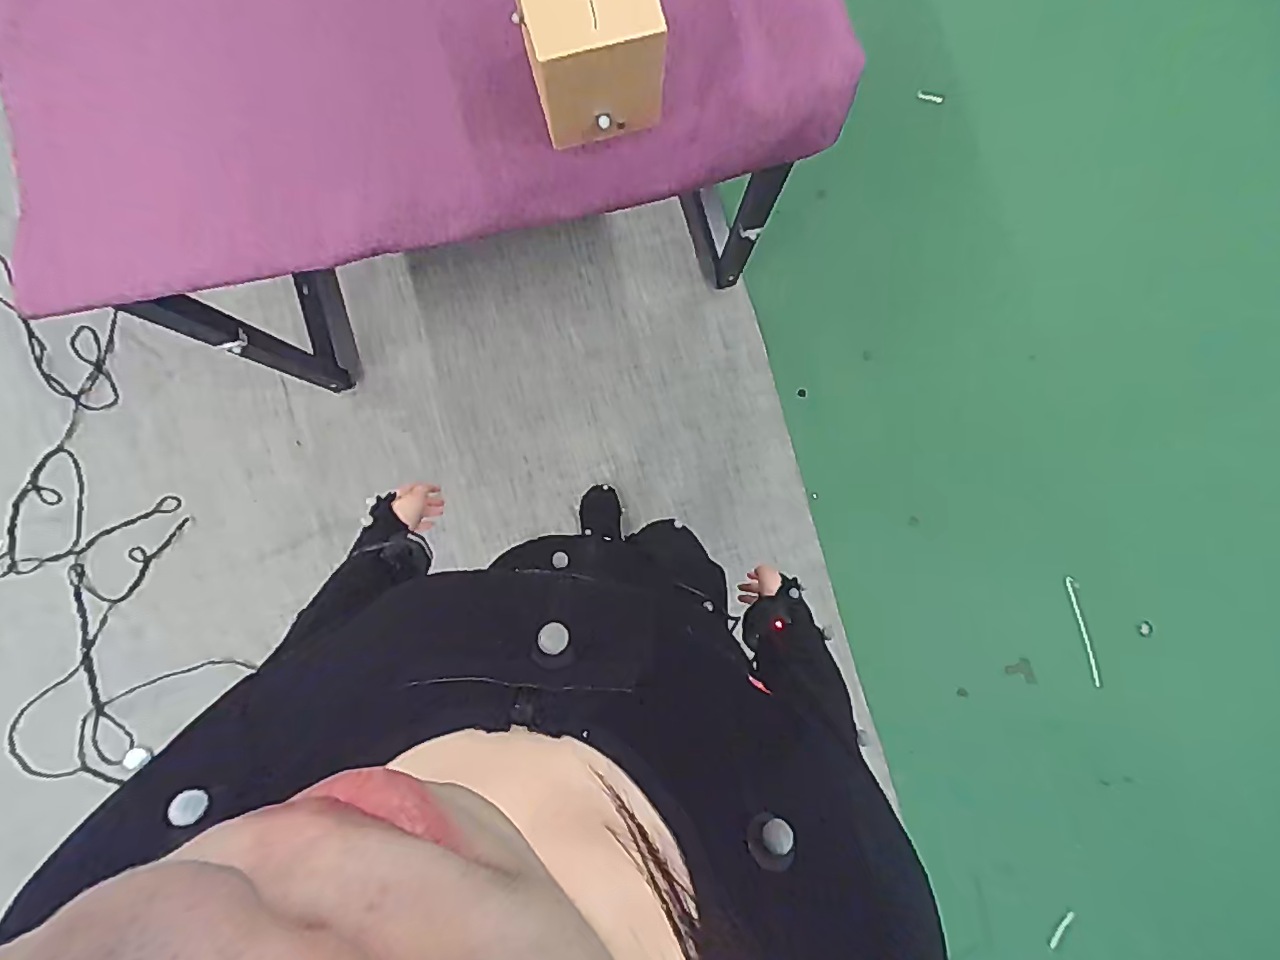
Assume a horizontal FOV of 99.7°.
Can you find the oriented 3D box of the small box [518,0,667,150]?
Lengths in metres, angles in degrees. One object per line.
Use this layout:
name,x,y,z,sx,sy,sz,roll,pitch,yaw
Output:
small box,-0.069,-0.598,0.737,0.168,0.176,0.179,-15,88,-2
